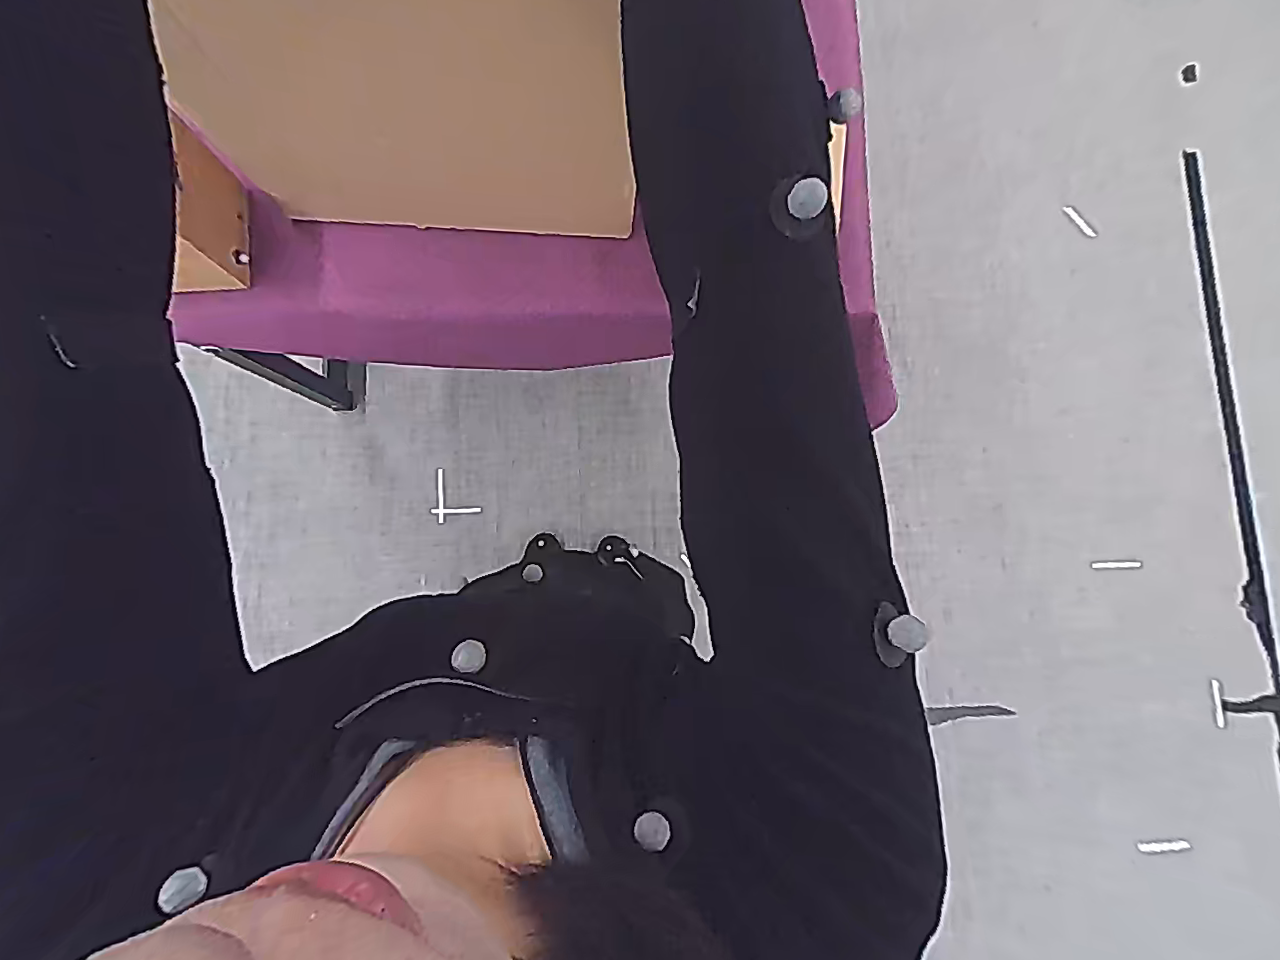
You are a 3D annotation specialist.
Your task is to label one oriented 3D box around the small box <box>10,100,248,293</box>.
[{"bbox_3d":[-0.663,-0.368,0.726,0.179,0.176,0.168,-6,83,-6],"label":"small box"}]
